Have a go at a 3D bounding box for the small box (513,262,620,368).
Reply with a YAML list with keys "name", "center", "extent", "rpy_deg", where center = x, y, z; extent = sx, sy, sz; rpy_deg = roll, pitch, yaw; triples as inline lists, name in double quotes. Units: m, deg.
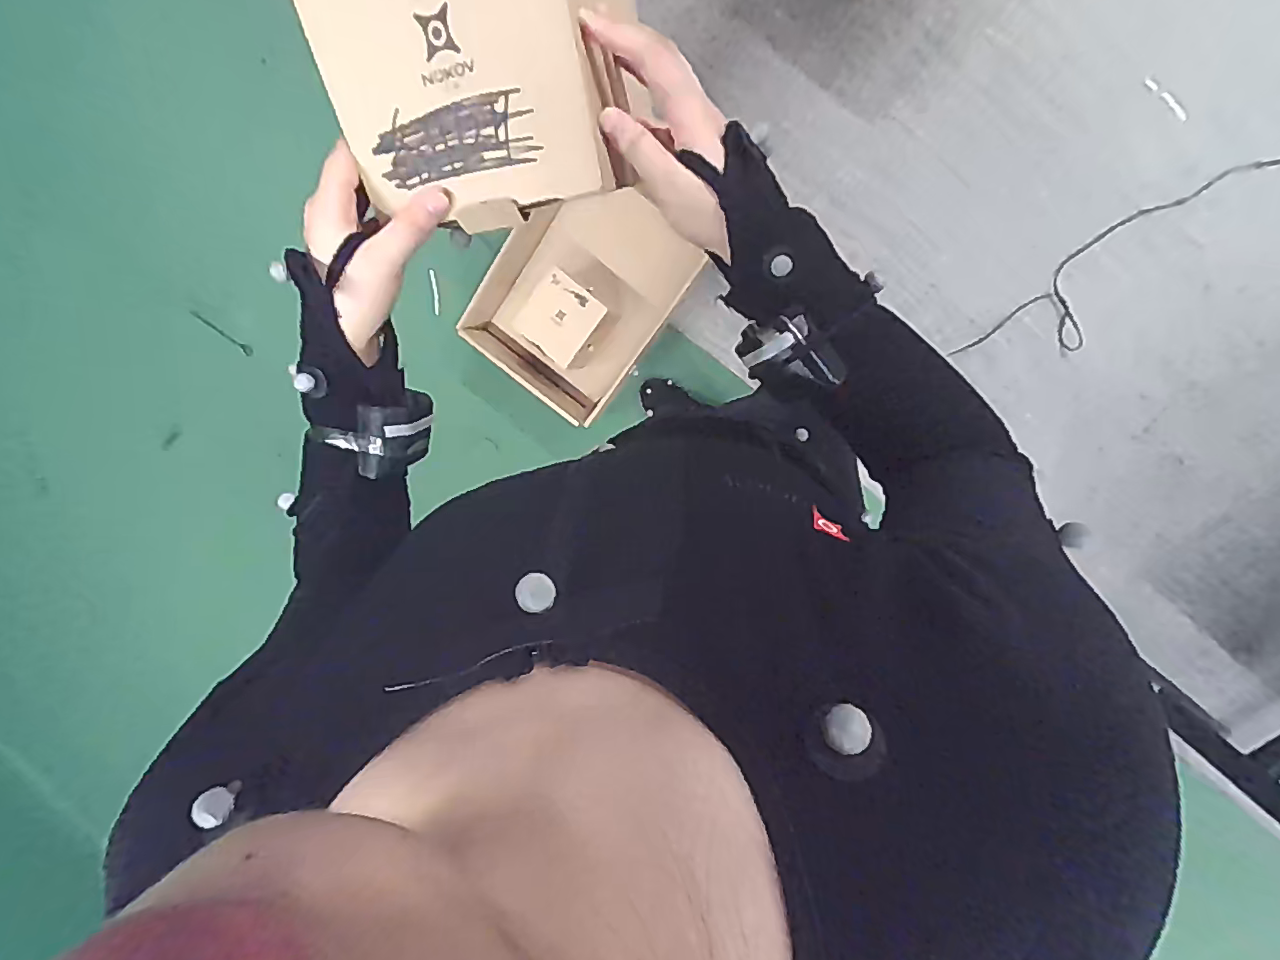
- name: "small box"
  center: [-0.169, -0.390, 1.305]
  extent: [0.168, 0.176, 0.179]
  rpy_deg: [39, 106, 0]
